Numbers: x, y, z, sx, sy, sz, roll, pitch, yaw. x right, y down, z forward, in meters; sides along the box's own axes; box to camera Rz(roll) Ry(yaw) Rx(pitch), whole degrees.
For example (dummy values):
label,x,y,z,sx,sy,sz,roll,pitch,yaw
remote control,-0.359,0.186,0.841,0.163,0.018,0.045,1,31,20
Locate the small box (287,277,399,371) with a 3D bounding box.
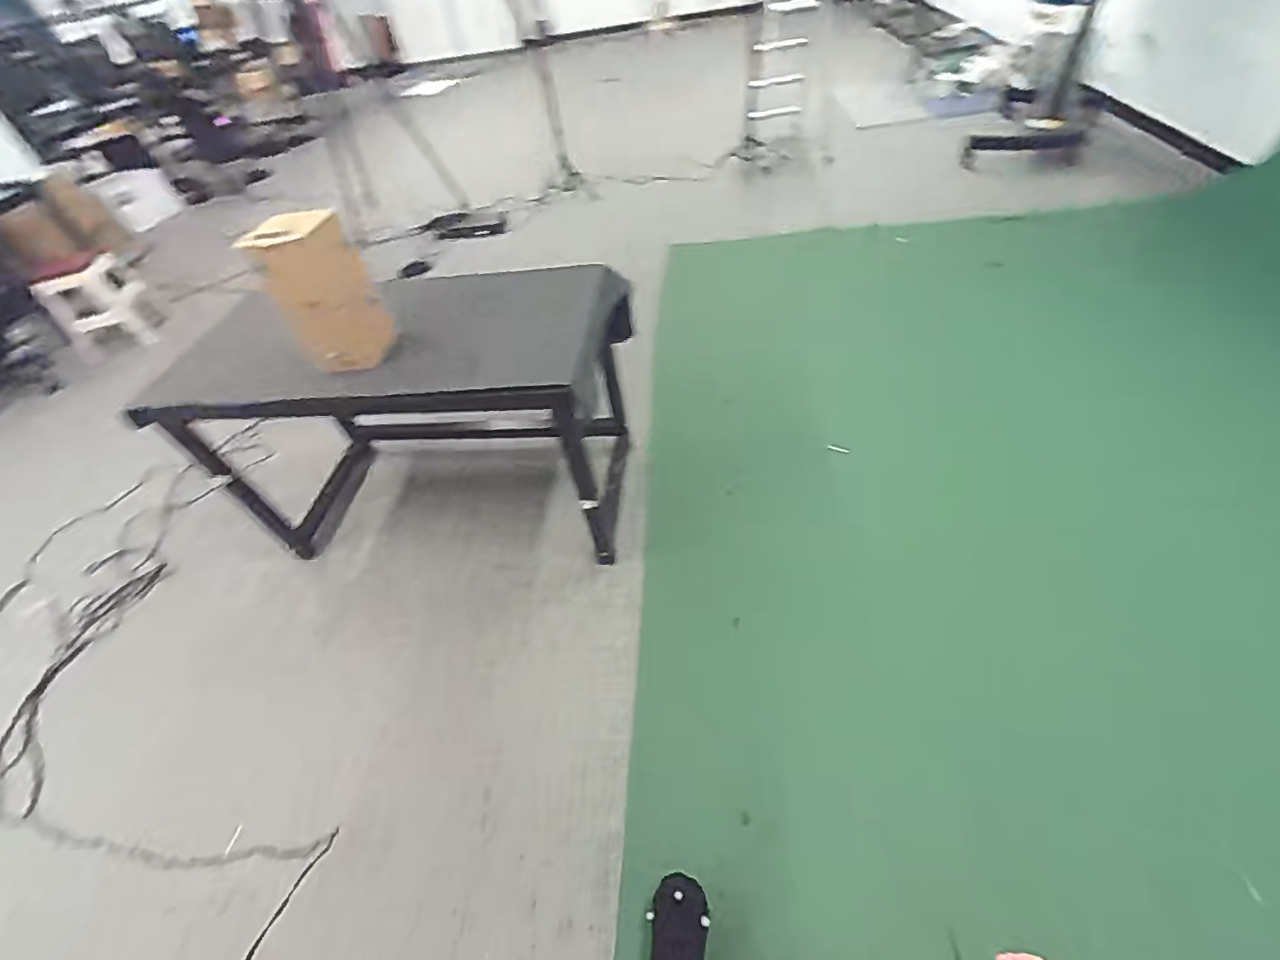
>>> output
label,x,y,z,sx,sy,sz,roll,pitch,yaw
small box,-0.754,-0.403,1.402,0.168,0.176,0.179,-2,47,9
